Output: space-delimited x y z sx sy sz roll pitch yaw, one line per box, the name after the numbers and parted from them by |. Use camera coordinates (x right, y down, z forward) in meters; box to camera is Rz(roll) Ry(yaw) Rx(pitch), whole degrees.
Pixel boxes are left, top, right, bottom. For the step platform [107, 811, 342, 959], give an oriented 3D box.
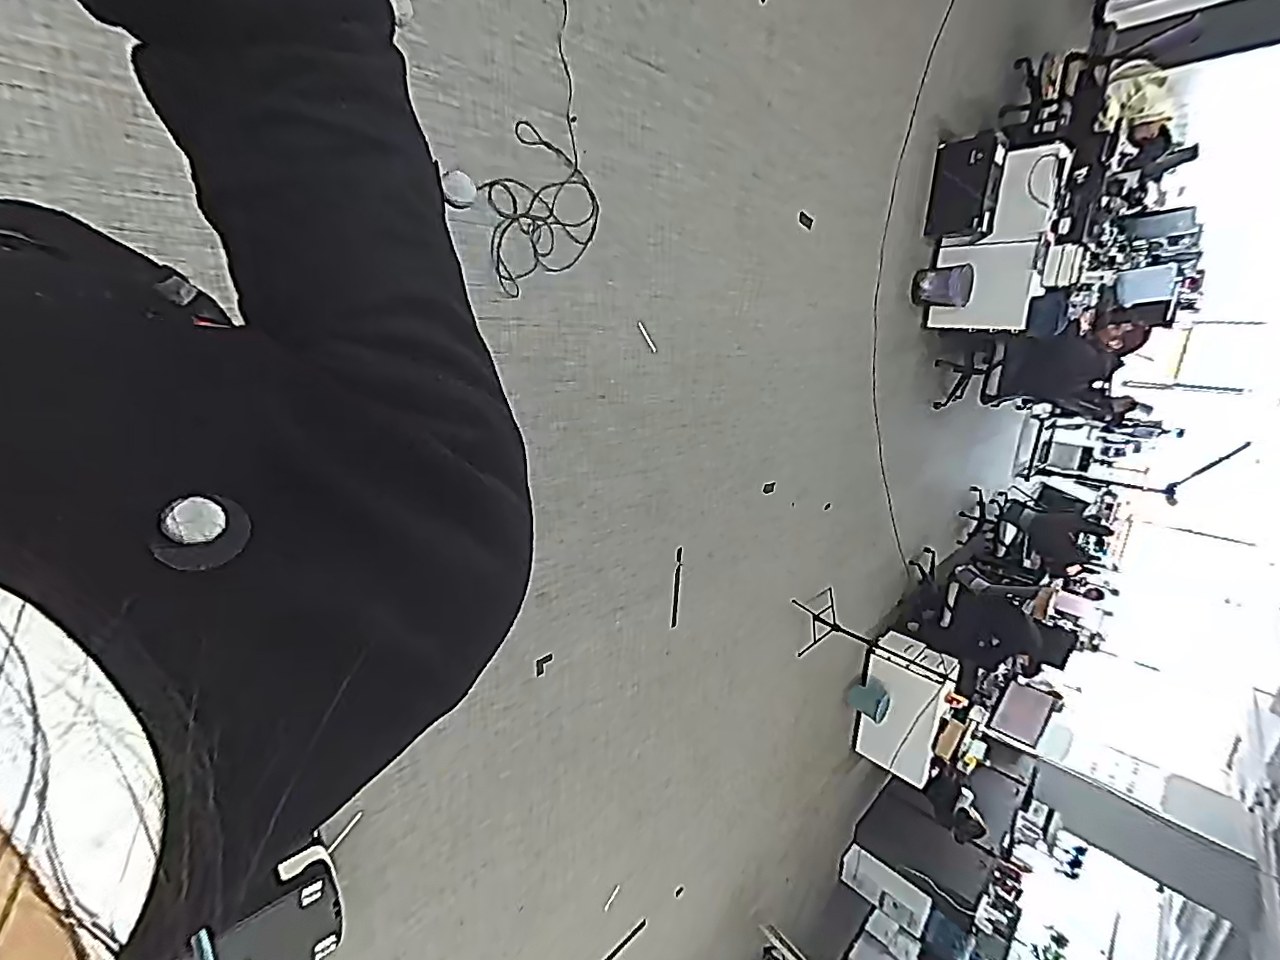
-1.095 1.130 1.281 0.684 0.204 0.286 -15 113 -41 | step platform
